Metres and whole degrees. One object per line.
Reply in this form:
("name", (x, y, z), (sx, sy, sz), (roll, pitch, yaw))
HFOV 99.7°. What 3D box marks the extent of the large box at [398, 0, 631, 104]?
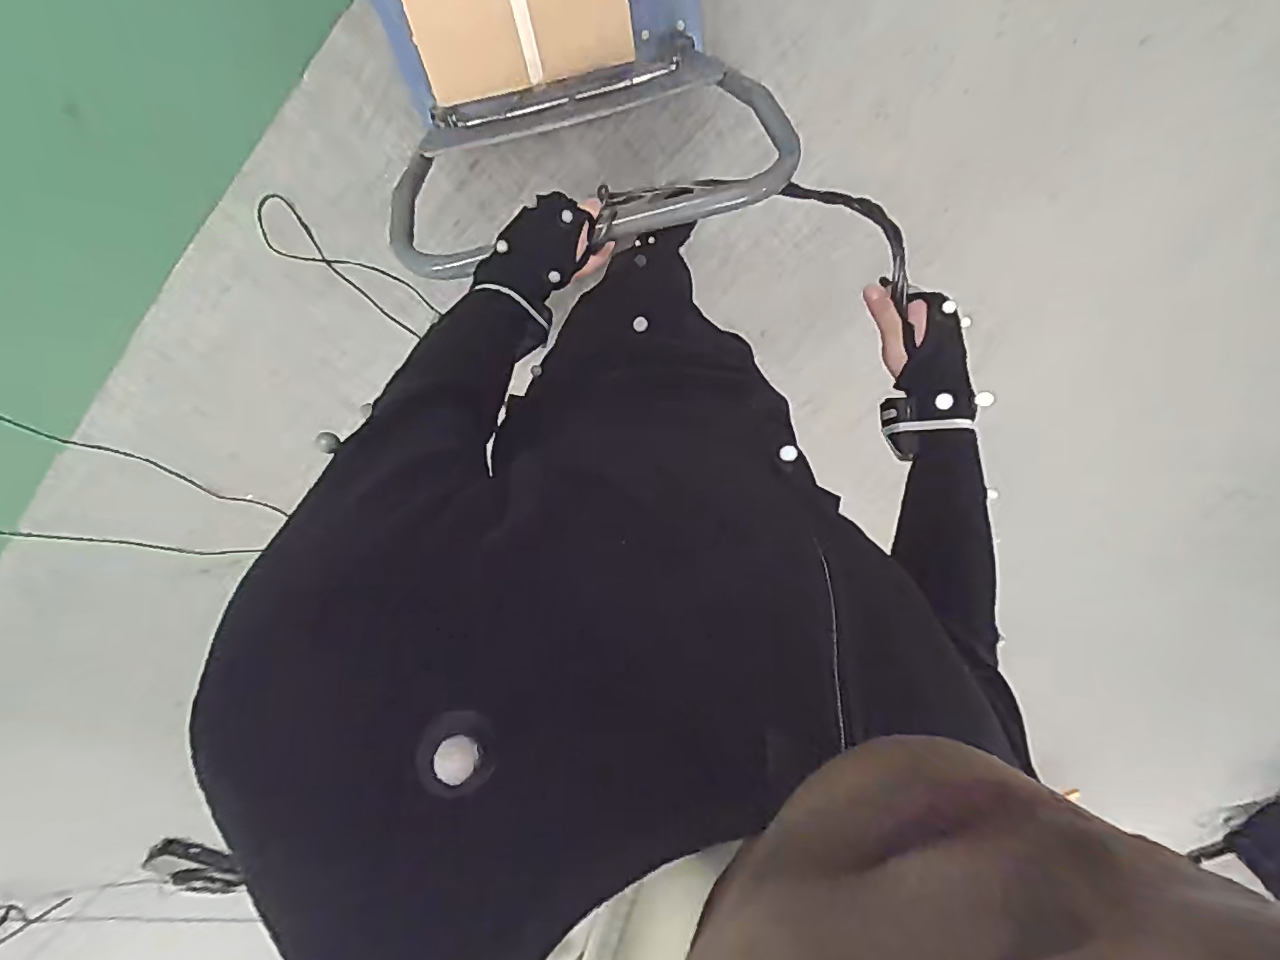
("large box", (-0.215, -0.847, 0.806), (0.320, 0.320, 0.408), (-13, 131, 1))
